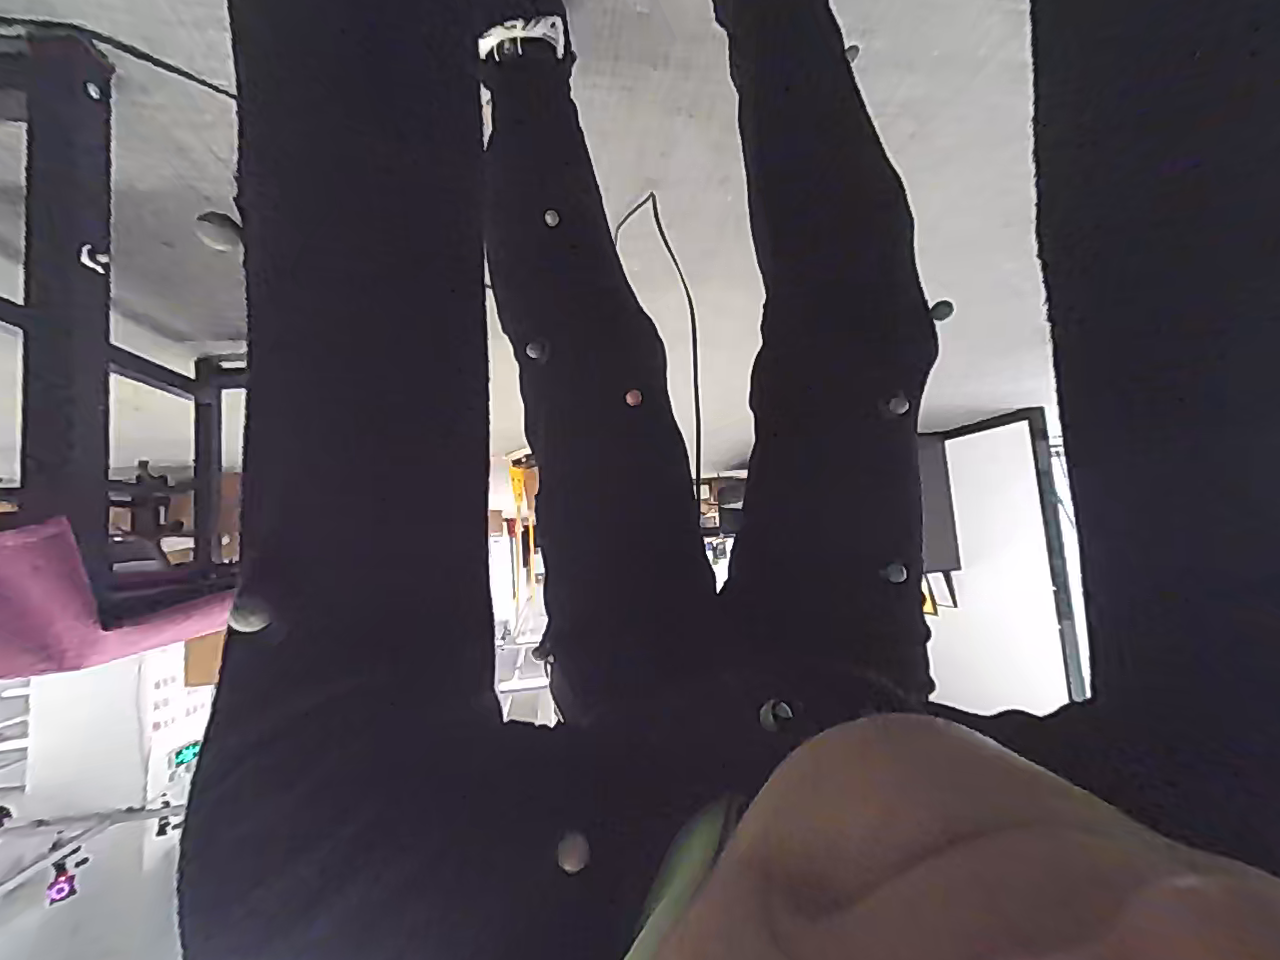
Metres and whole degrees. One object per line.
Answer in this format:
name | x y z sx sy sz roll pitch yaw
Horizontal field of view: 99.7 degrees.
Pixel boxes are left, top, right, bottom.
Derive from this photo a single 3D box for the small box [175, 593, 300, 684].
small box | -0.902 0.351 1.228 0.179 0.176 0.168 -4 174 -7
